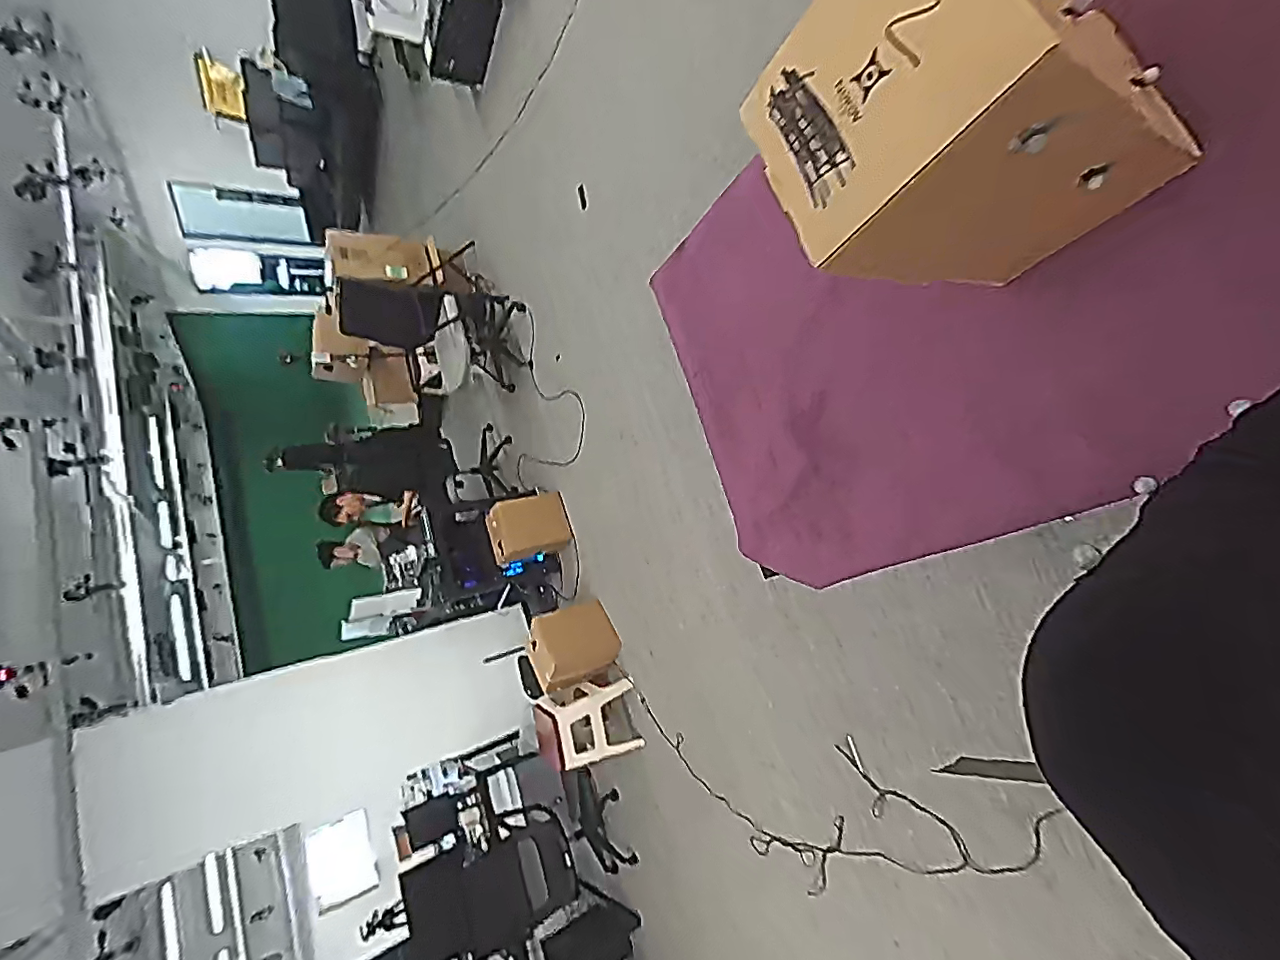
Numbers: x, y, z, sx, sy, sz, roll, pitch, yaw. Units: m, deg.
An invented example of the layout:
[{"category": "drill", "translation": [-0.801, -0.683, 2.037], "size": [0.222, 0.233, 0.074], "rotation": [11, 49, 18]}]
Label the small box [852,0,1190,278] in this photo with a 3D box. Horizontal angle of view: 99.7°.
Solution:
[{"category": "small box", "translation": [0.345, -0.310, 0.504], "size": [0.179, 0.176, 0.168], "rotation": [-37, 68, 53]}]
